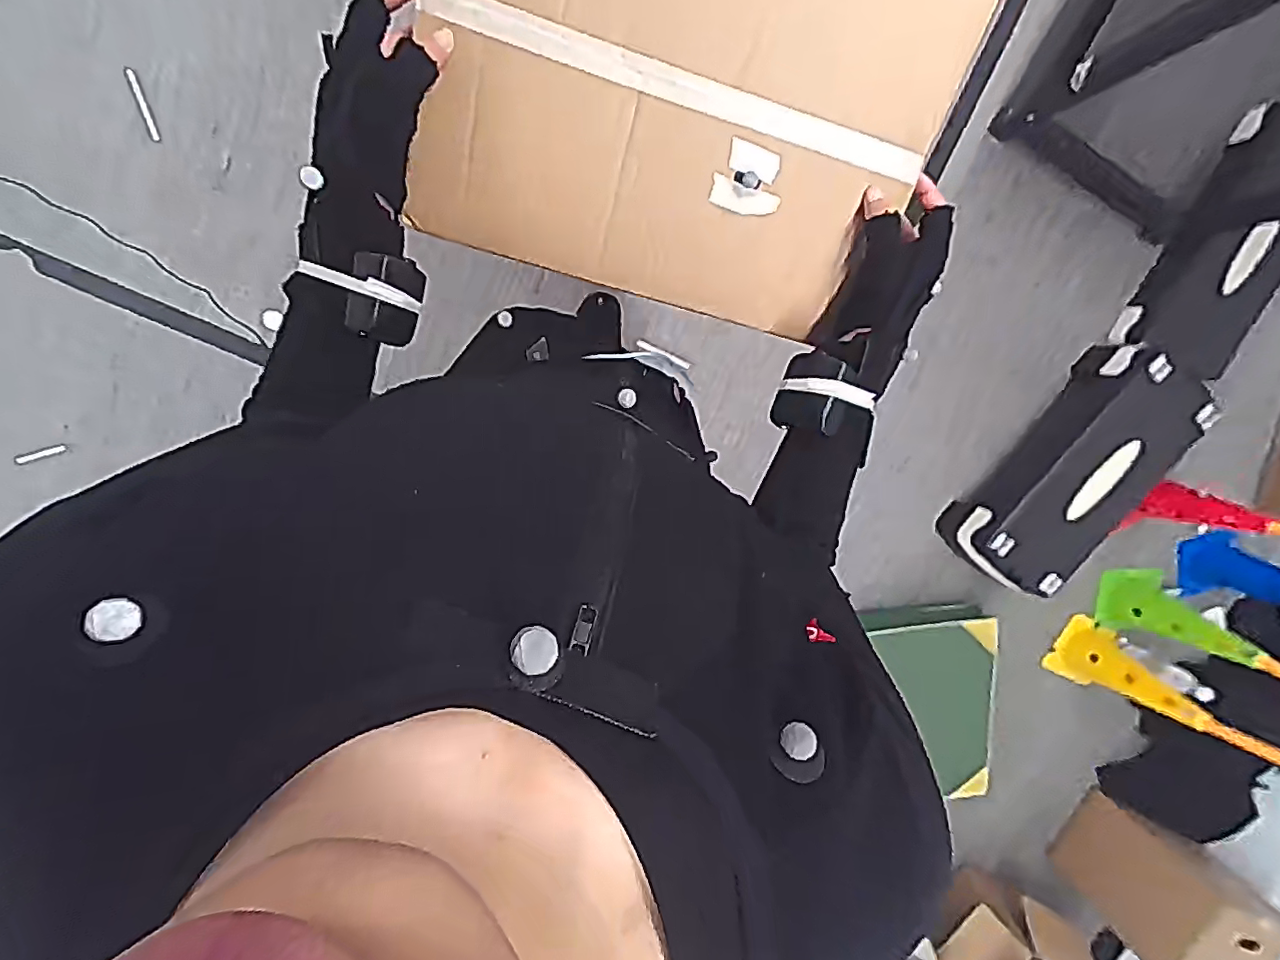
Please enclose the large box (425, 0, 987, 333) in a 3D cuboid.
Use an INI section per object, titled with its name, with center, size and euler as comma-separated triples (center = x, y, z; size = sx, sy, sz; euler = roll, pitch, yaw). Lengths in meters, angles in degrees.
[large box]
center = 0.034, -0.385, 0.559
size = 0.408, 0.320, 0.320
euler = 13, 119, -11
